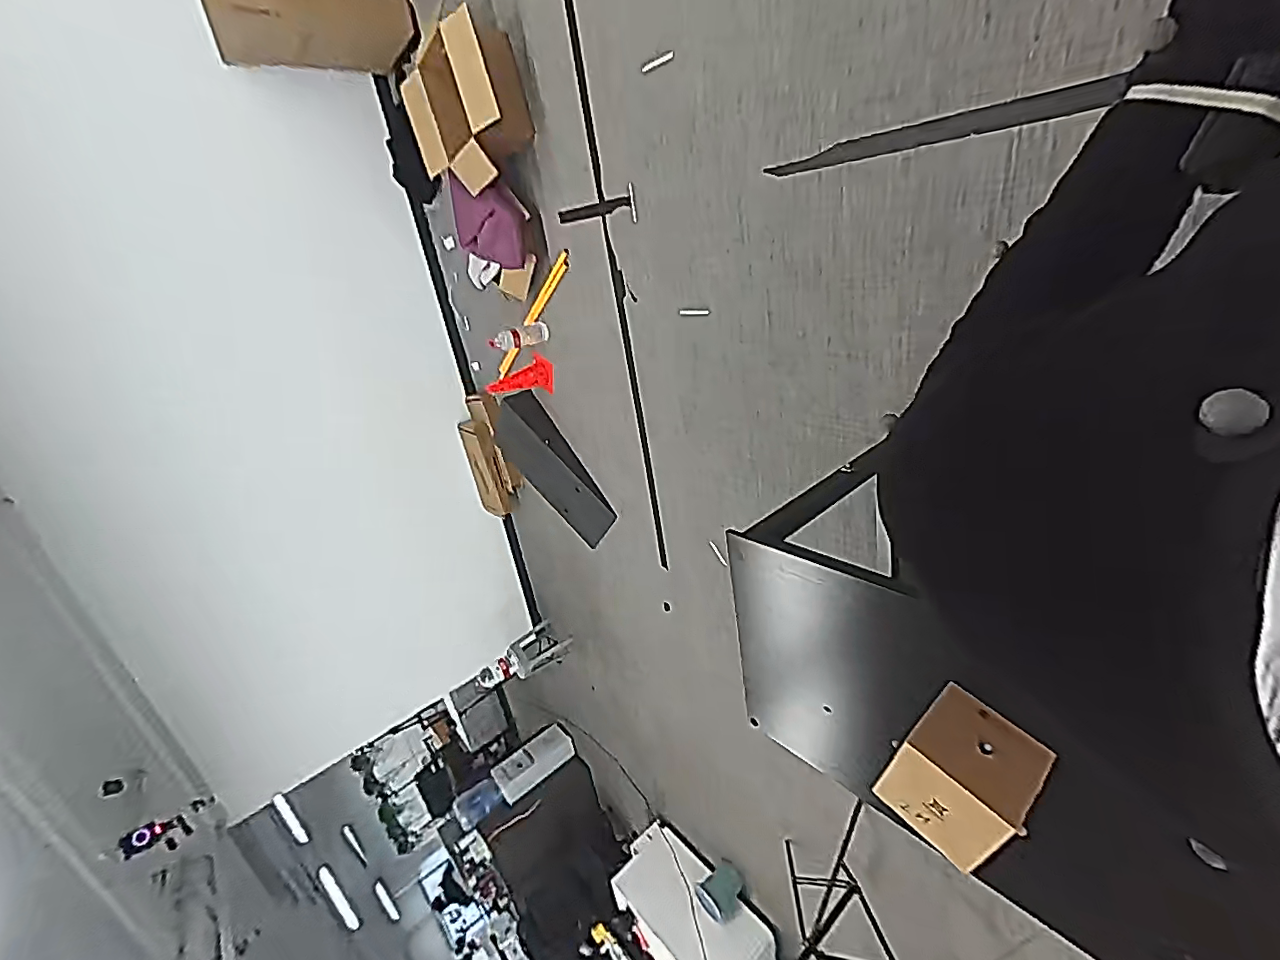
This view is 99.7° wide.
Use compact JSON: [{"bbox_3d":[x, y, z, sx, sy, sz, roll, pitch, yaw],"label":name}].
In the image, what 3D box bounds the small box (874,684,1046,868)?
[{"bbox_3d":[0.526,0.476,0.890,0.168,0.176,0.179,37,139,36],"label":"small box"}]
